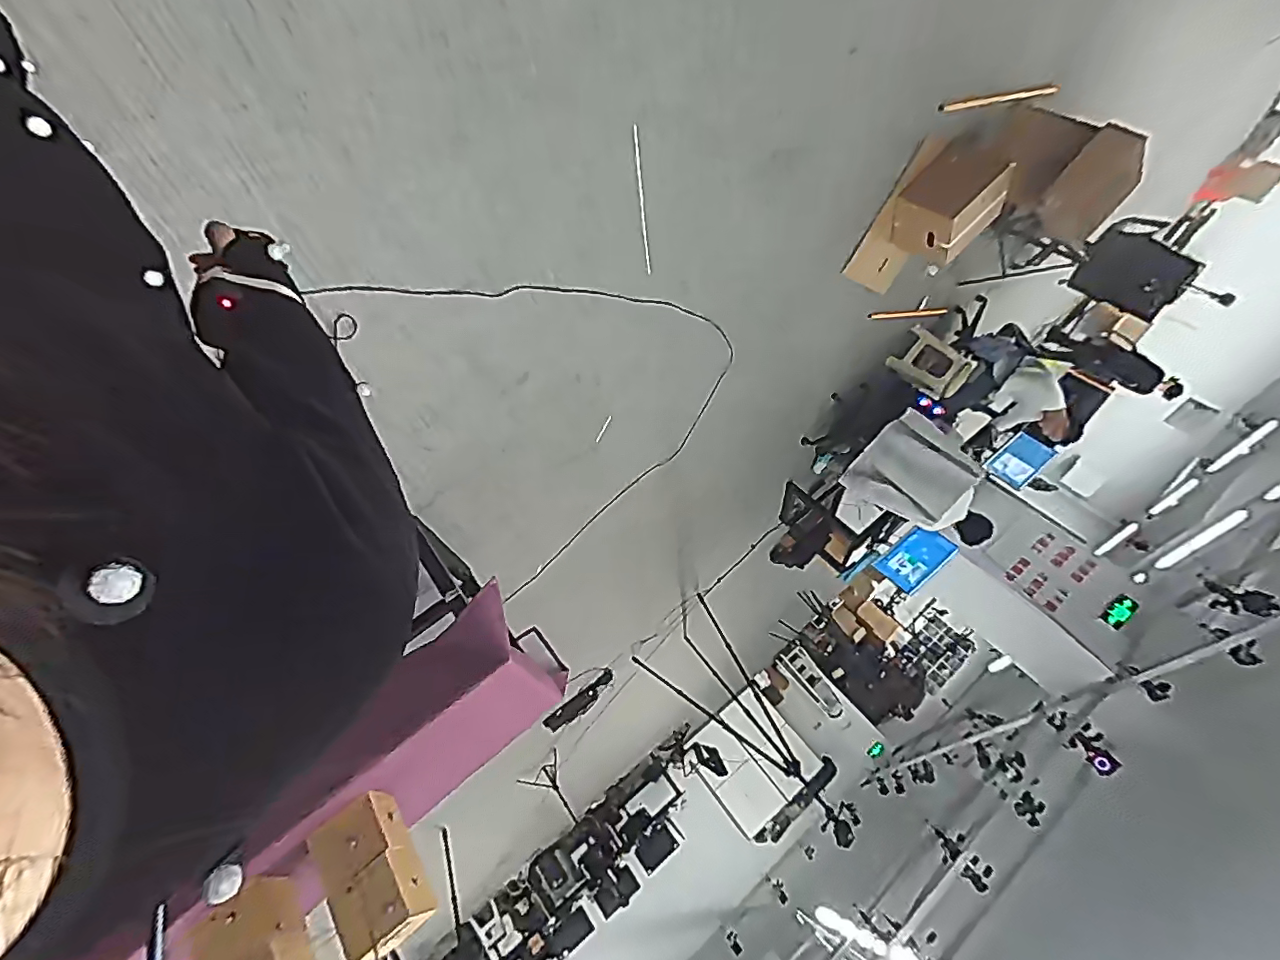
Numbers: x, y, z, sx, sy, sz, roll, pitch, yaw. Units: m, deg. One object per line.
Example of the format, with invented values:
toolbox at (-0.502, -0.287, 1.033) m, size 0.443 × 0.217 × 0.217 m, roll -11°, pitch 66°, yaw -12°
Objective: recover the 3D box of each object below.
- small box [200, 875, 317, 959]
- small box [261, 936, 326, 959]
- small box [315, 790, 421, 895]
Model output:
small box at (-0.987, 1.165, 1.402) m, size 0.168 × 0.176 × 0.179 m, roll -34°, pitch 148°, yaw -19°
small box at (-0.886, 1.266, 1.321) m, size 0.168 × 0.176 × 0.179 m, roll -34°, pitch 149°, yaw -17°
small box at (-0.744, 0.988, 1.483) m, size 0.179 × 0.176 × 0.168 m, roll -35°, pitch 149°, yaw -18°
